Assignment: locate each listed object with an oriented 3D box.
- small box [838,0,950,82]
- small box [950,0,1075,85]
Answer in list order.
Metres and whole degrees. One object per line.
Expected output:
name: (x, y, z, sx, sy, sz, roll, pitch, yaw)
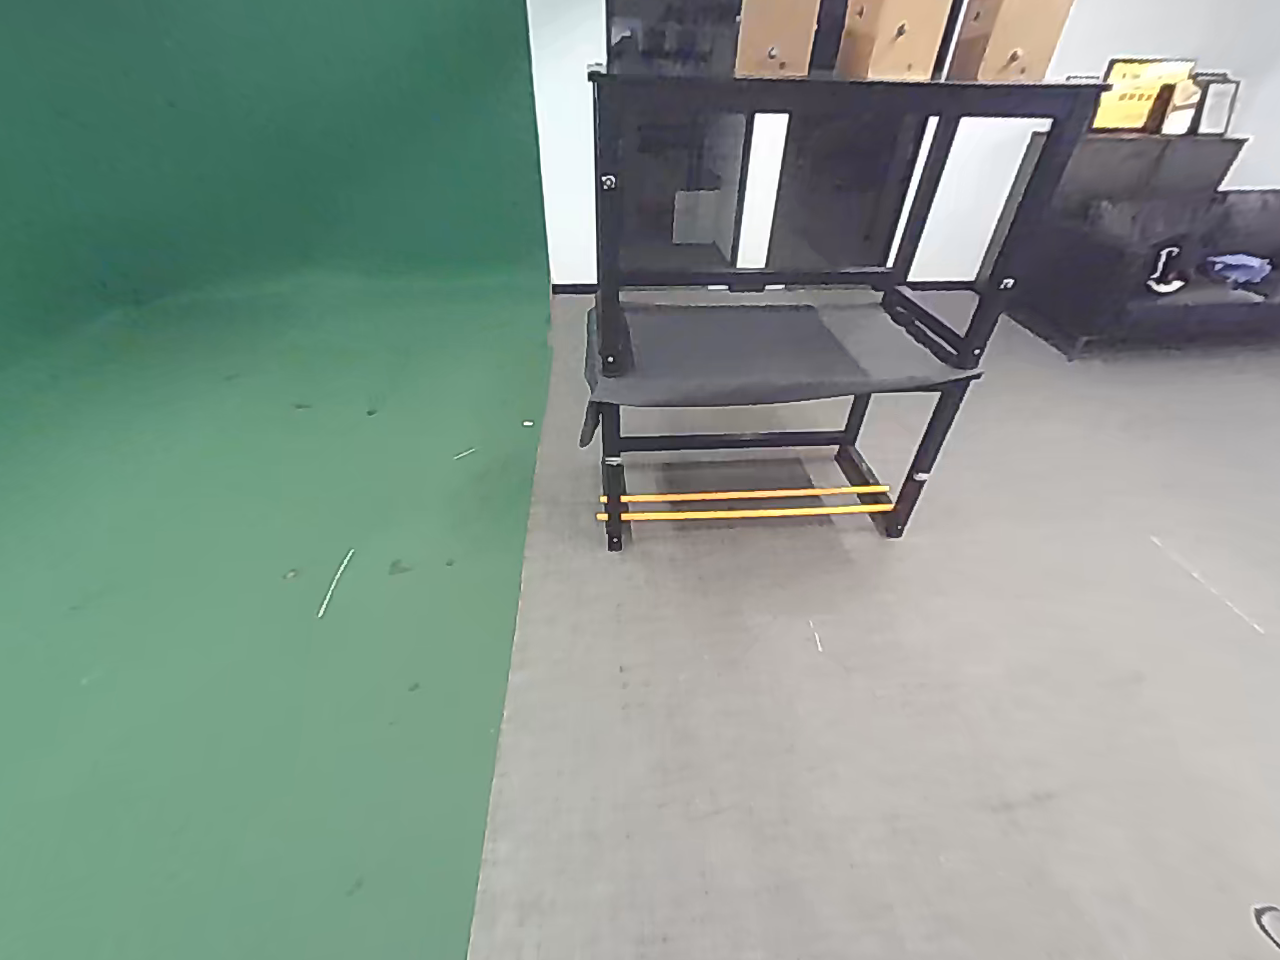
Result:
small box: (0.599, -1.056, 1.288, 0.168, 0.176, 0.179, -5, 38, -8)
small box: (0.891, -1.073, 1.314, 0.168, 0.176, 0.179, 1, 39, 0)
